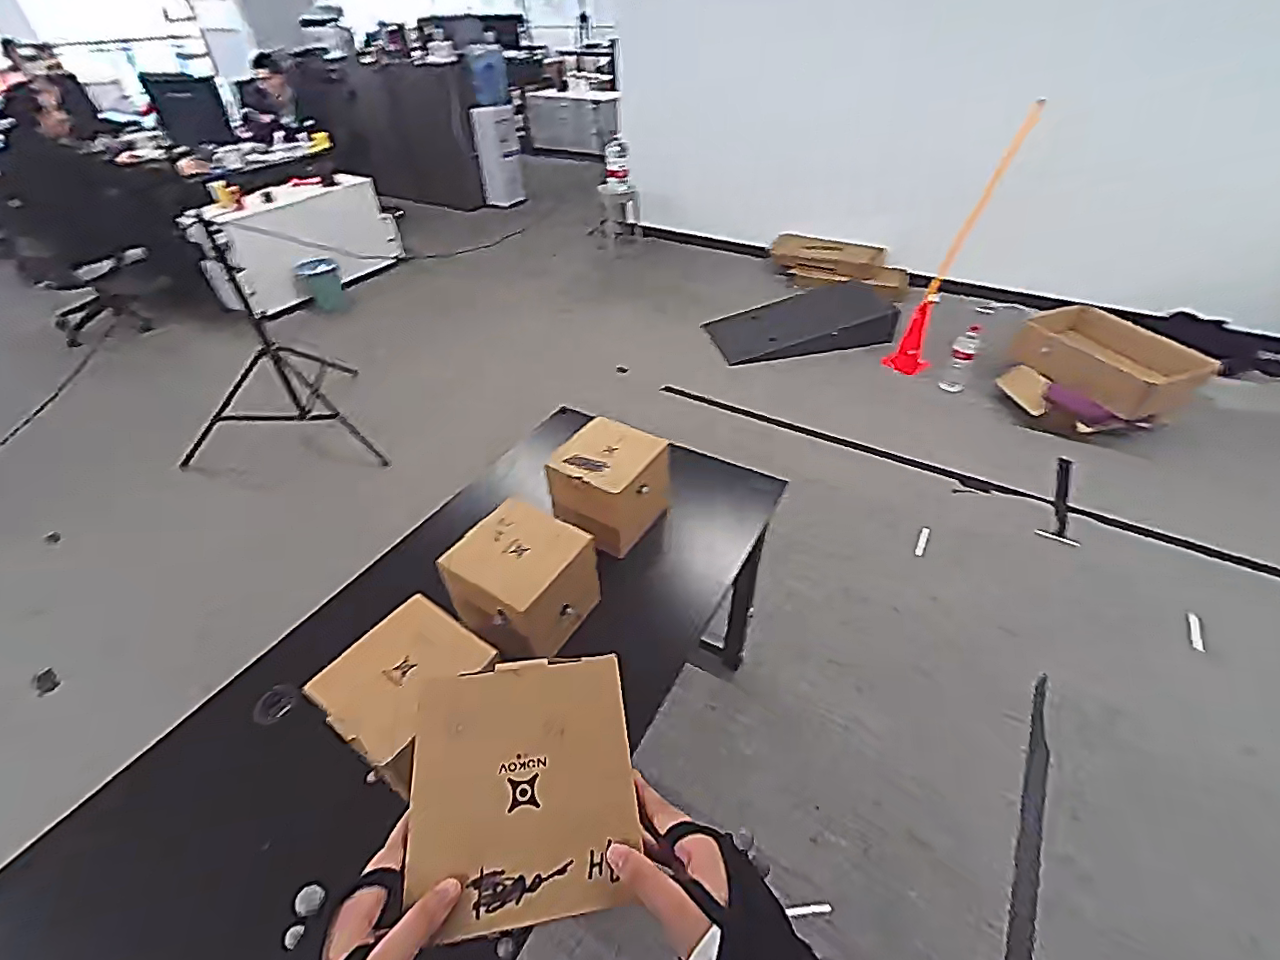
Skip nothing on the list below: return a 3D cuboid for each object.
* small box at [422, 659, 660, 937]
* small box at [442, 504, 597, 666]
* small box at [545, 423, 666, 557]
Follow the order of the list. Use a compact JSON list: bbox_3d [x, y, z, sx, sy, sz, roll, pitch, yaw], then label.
[{"bbox_3d":[-0.081,0.282,0.484,0.168,0.176,0.179,-5,53,-7],"label":"small box"},{"bbox_3d":[-0.185,0.175,0.890,0.179,0.176,0.168,22,47,25],"label":"small box"},{"bbox_3d":[-0.059,0.021,1.058,0.168,0.176,0.179,22,47,25],"label":"small box"}]
